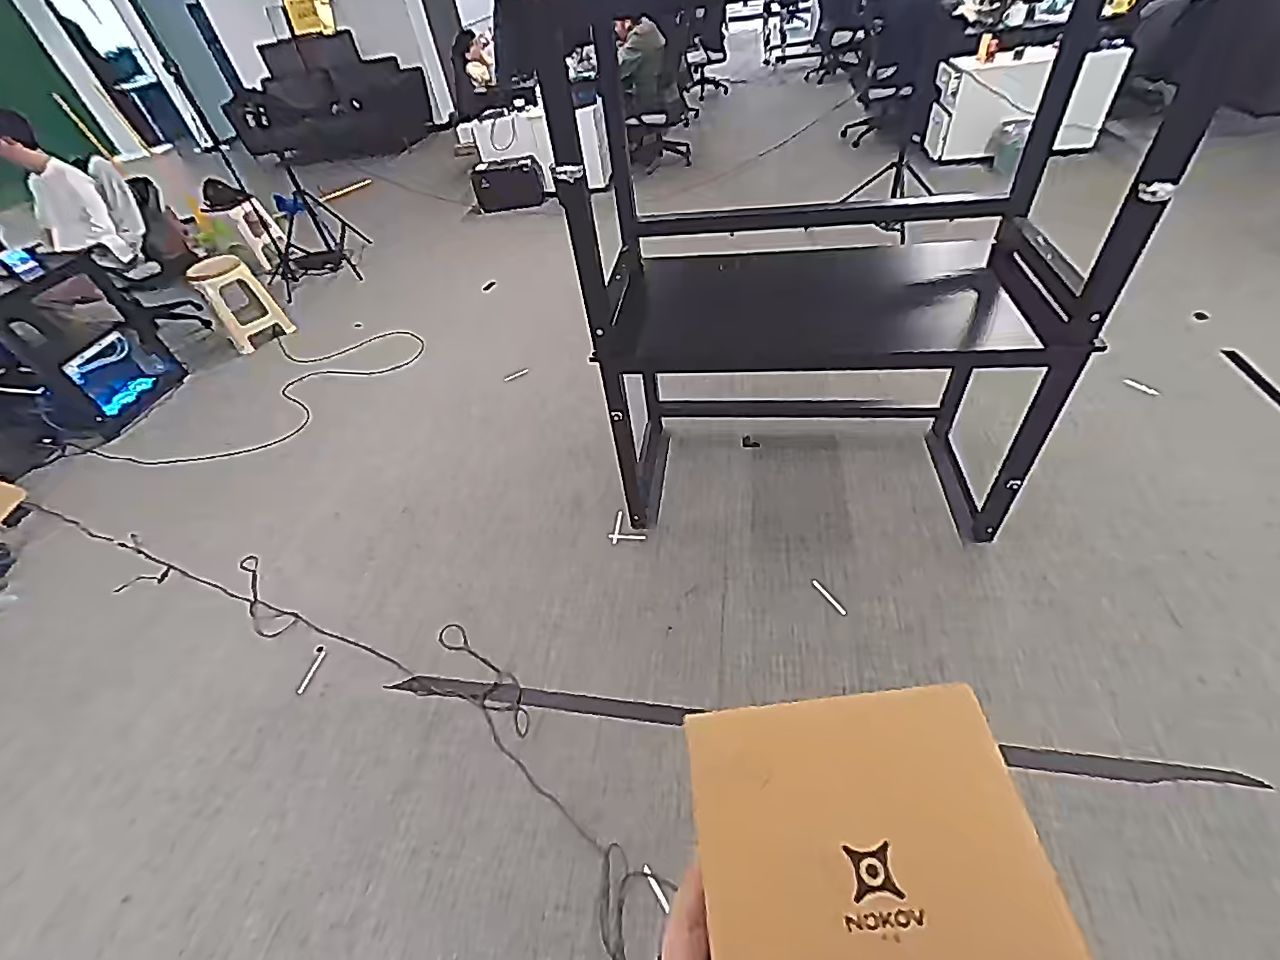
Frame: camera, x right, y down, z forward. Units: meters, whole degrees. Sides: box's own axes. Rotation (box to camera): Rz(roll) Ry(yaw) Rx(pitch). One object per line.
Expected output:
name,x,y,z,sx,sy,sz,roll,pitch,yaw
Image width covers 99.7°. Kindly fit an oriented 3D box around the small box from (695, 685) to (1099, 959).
small box,0.126,0.244,0.320,0.168,0.176,0.179,-9,50,4
